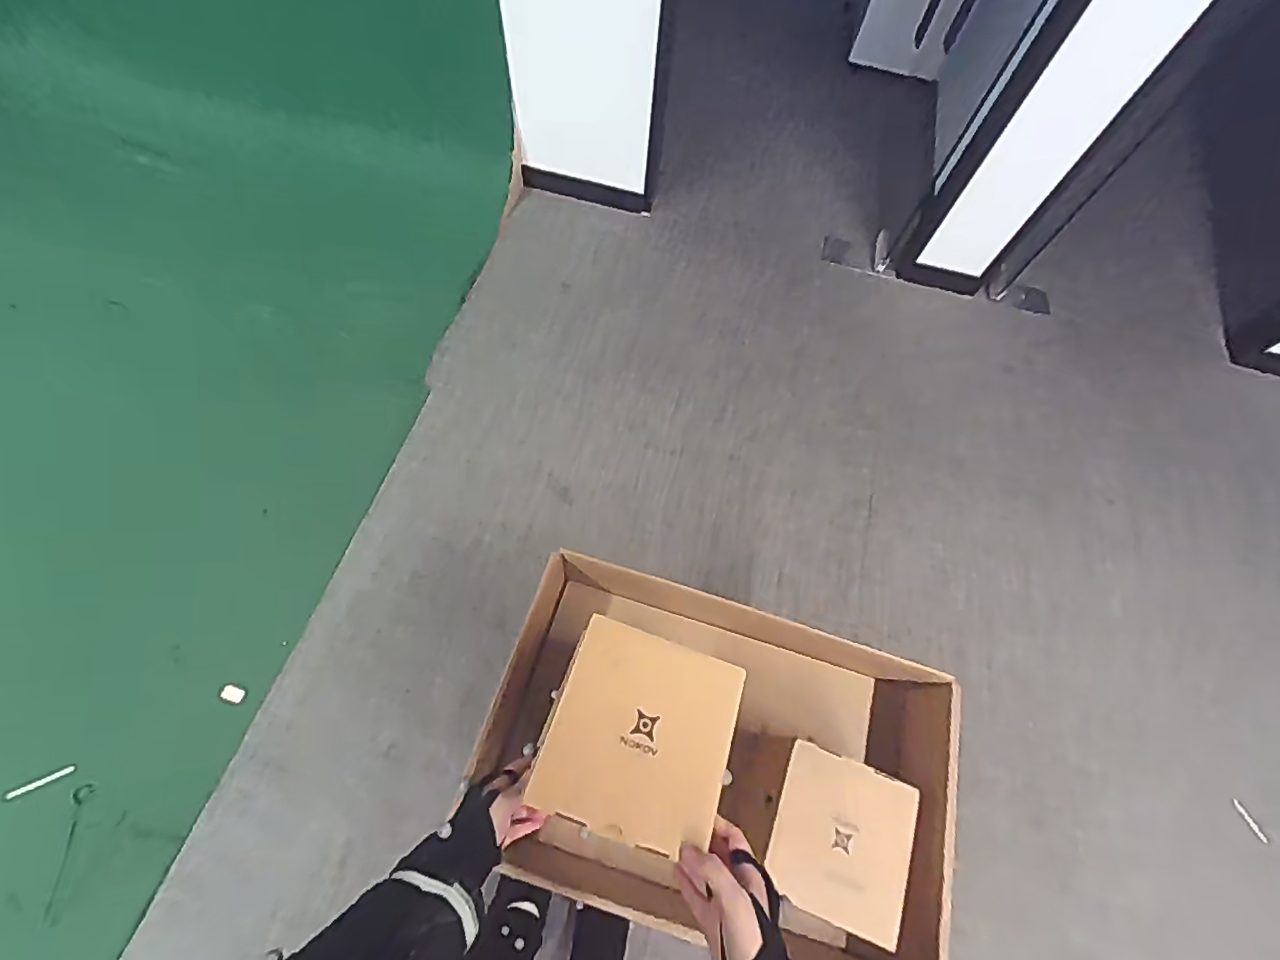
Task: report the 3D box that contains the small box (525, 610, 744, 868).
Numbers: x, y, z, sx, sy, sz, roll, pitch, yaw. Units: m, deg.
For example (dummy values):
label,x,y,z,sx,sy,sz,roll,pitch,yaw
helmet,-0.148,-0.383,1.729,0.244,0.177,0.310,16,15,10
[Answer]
label,x,y,z,sx,sy,sz,roll,pitch,yaw
small box,-0.011,0.266,0.568,0.168,0.176,0.179,21,61,2
